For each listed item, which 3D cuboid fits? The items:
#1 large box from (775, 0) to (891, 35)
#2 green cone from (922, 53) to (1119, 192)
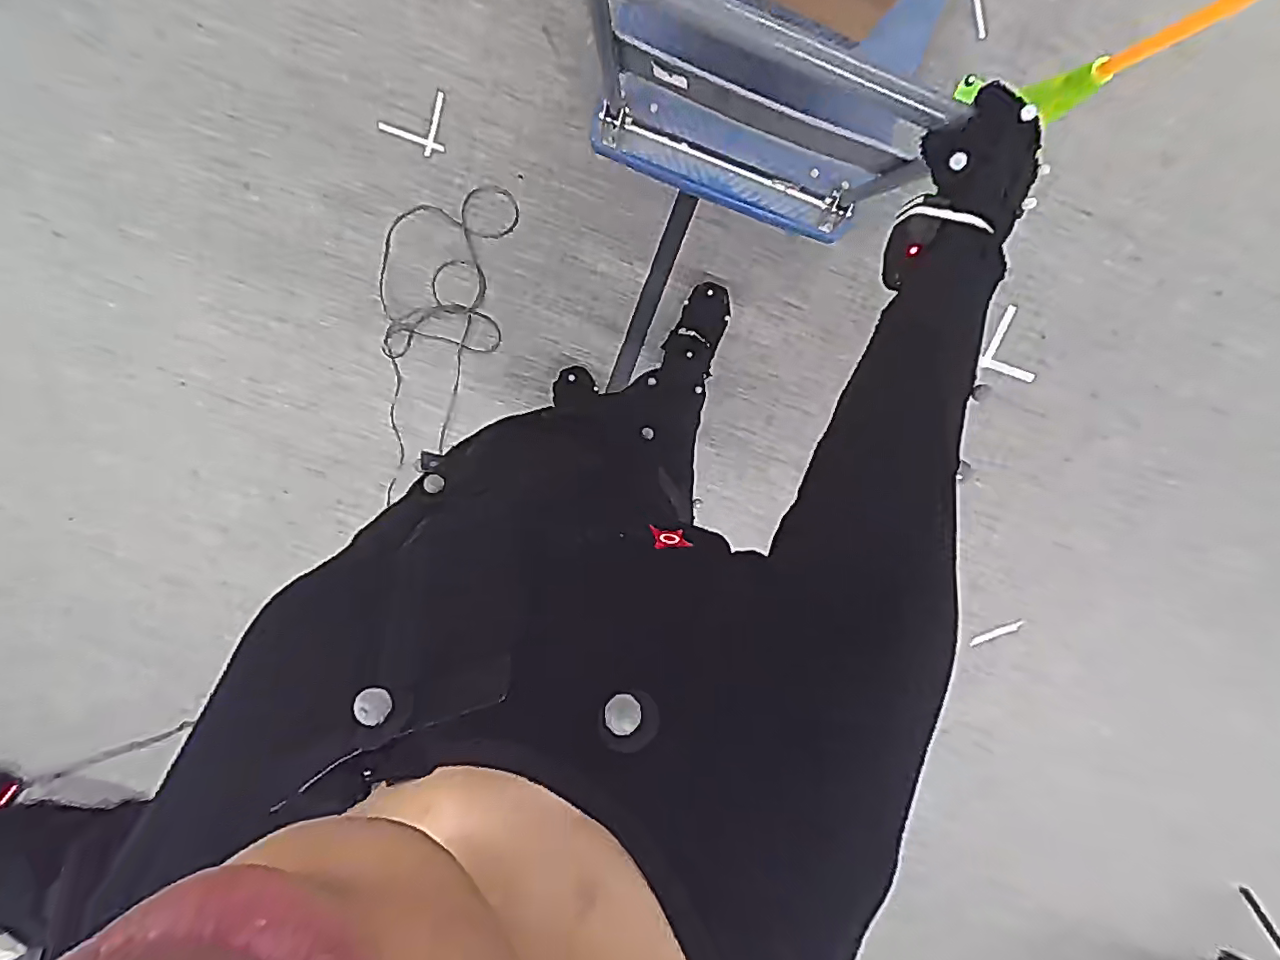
[{"bbox_3d":[0.290,-1.009,0.847,0.408,0.320,0.320,20,106,-5],"label":"large box"},{"bbox_3d":[0.776,-0.746,1.077,0.202,0.368,0.200,23,105,-8],"label":"green cone"}]
